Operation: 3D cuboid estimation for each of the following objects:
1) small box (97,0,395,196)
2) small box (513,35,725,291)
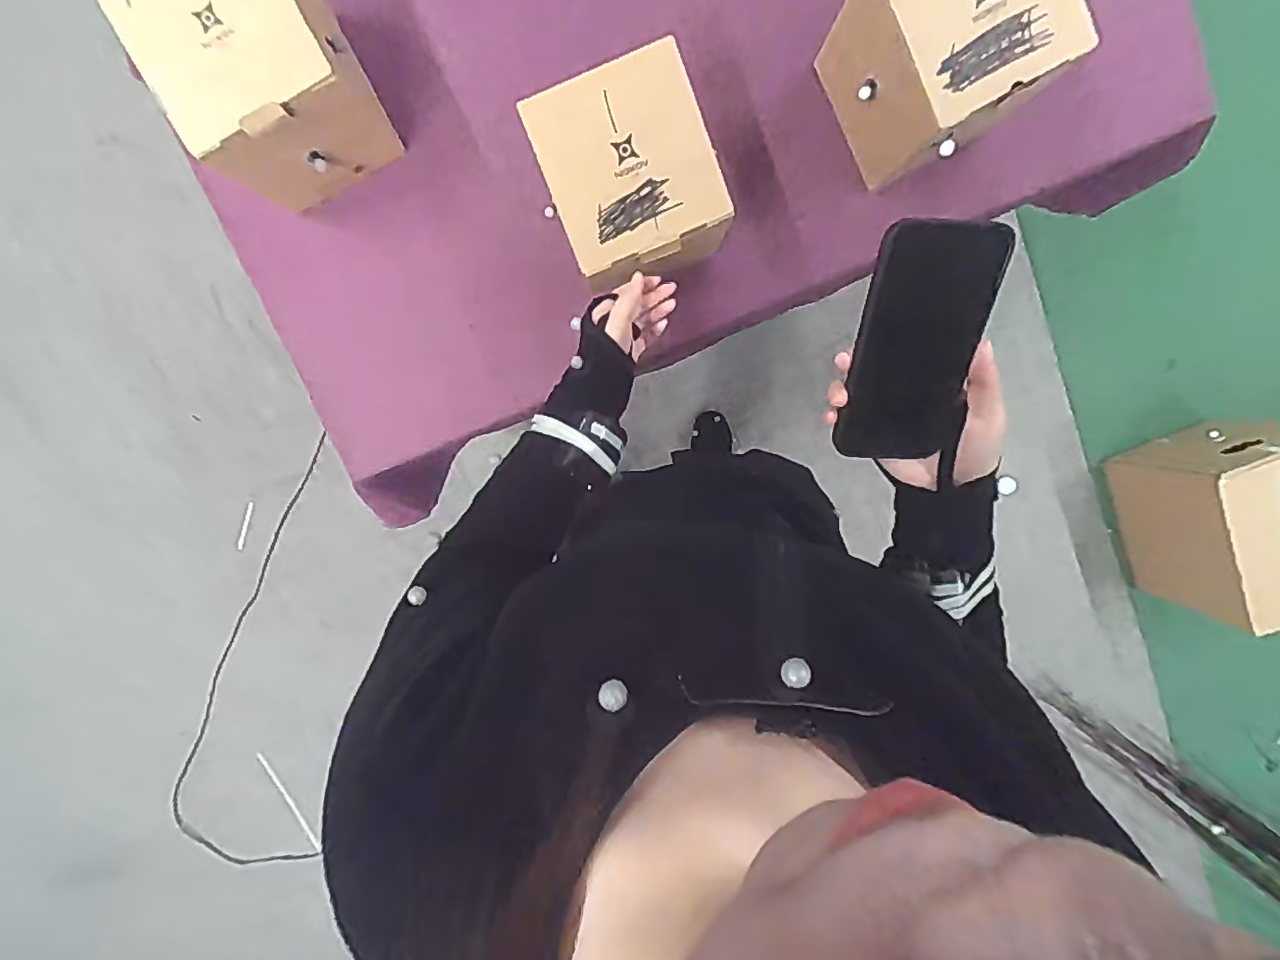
[{"bbox_3d":[-0.406,-0.440,0.590,0.168,0.176,0.179,-27,99,3],"label":"small box"},{"bbox_3d":[-0.017,-0.329,0.609,0.168,0.176,0.179,-21,97,3],"label":"small box"}]
